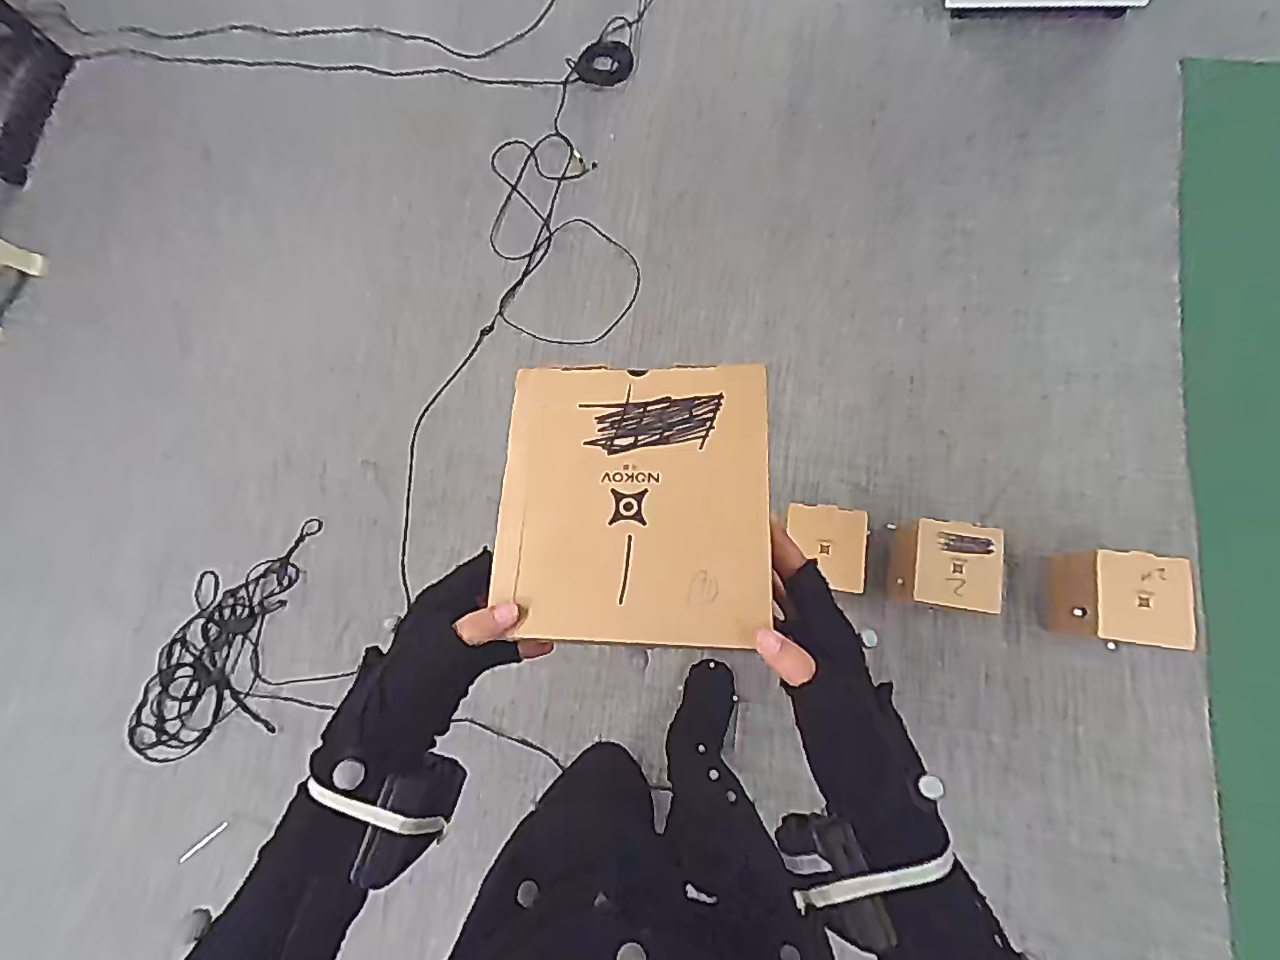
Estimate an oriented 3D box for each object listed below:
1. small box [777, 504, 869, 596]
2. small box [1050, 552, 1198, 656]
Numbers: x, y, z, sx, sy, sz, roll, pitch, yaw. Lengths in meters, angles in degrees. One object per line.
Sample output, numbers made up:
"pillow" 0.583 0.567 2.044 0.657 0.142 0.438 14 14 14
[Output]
"small box" 0.404 0.163 1.213 0.168 0.176 0.179 7 78 10
"small box" 0.978 0.252 1.107 0.168 0.176 0.179 7 78 9
